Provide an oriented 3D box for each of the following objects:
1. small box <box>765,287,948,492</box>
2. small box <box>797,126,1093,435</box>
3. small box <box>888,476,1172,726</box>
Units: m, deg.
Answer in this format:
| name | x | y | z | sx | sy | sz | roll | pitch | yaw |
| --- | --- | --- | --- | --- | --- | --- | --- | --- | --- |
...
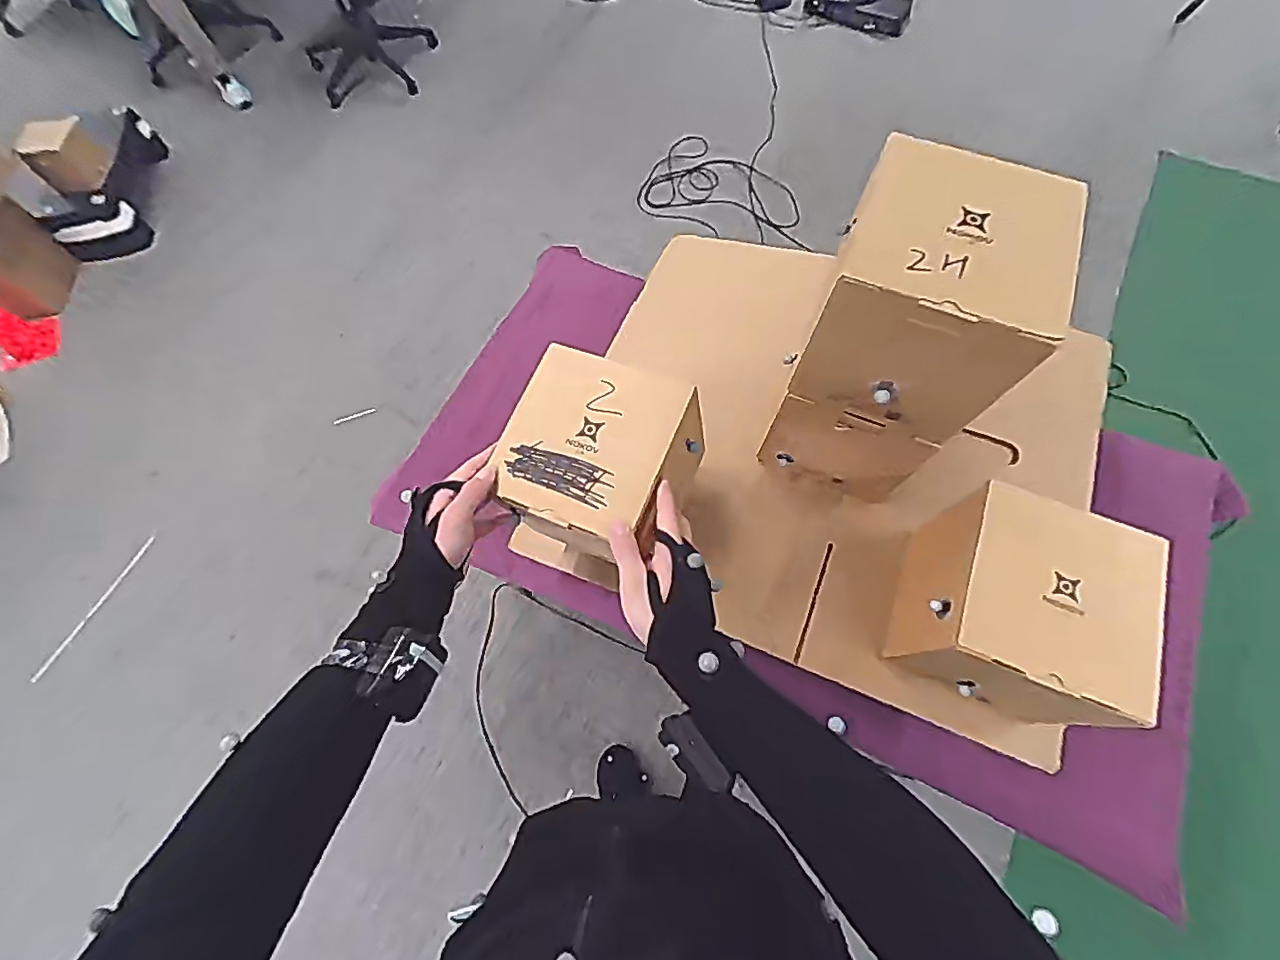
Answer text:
| name | x | y | z | sx | sy | sz | roll | pitch | yaw |
| --- | --- | --- | --- | --- | --- | --- | --- | --- | --- |
| small box | 0.262 | -0.108 | 0.648 | 0.168 | 0.176 | 0.179 | 22 | 69 | 8 |
| small box | 0.261 | -0.171 | 0.497 | 0.168 | 0.176 | 0.179 | 21 | 71 | 9 |
| small box | 0.382 | 0.127 | 0.555 | 0.168 | 0.176 | 0.179 | 21 | 71 | 9 |
